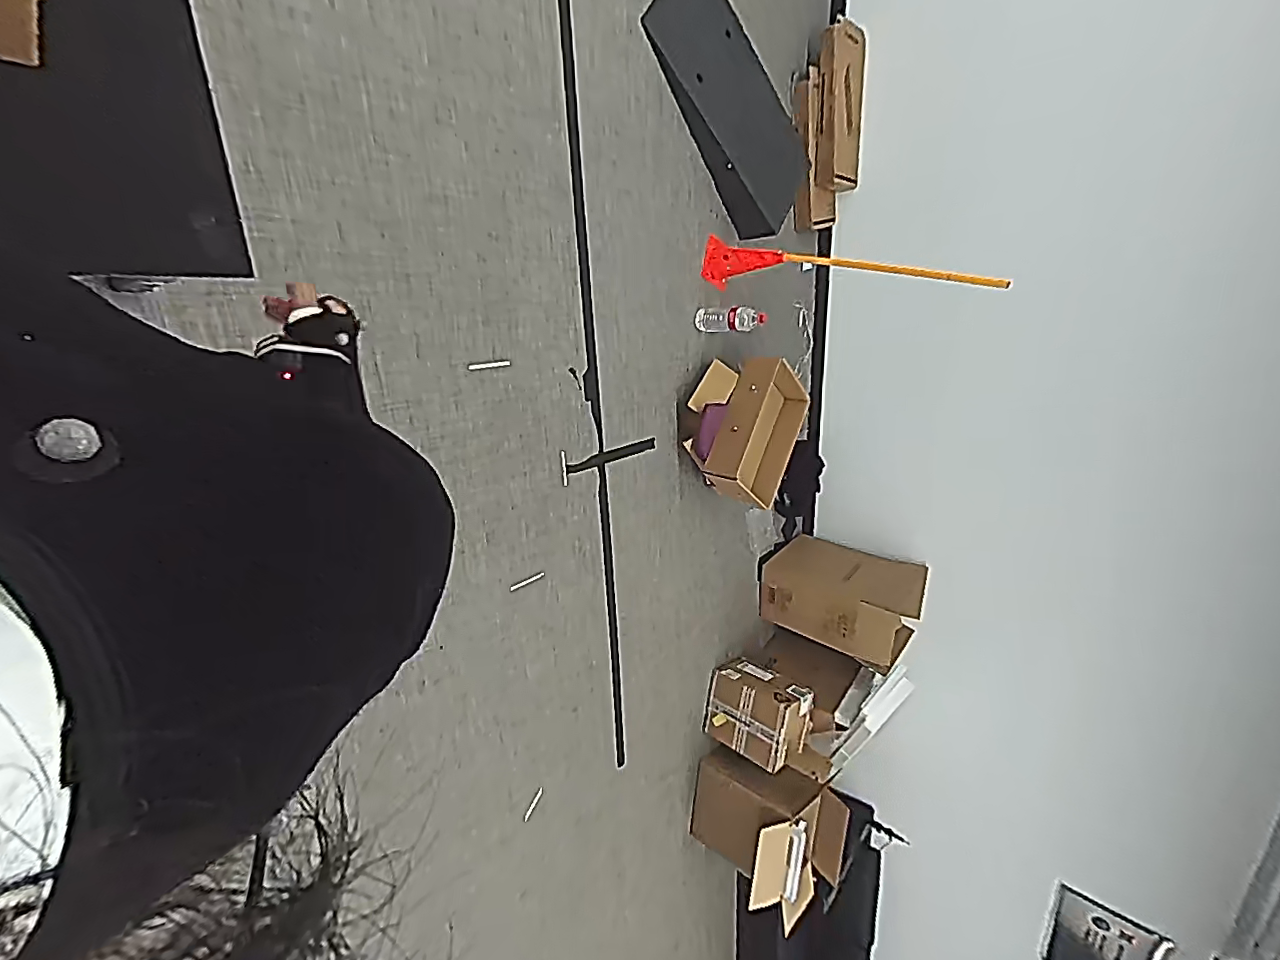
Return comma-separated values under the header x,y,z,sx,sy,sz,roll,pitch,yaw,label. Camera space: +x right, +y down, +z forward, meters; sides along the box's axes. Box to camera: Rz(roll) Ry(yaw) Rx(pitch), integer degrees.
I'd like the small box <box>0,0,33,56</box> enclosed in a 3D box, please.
x,y,z,sx,sy,sz,roll,pitch,yaw,label
-0.556,-0.426,0.362,0.179,0.176,0.168,-18,114,-46,small box
